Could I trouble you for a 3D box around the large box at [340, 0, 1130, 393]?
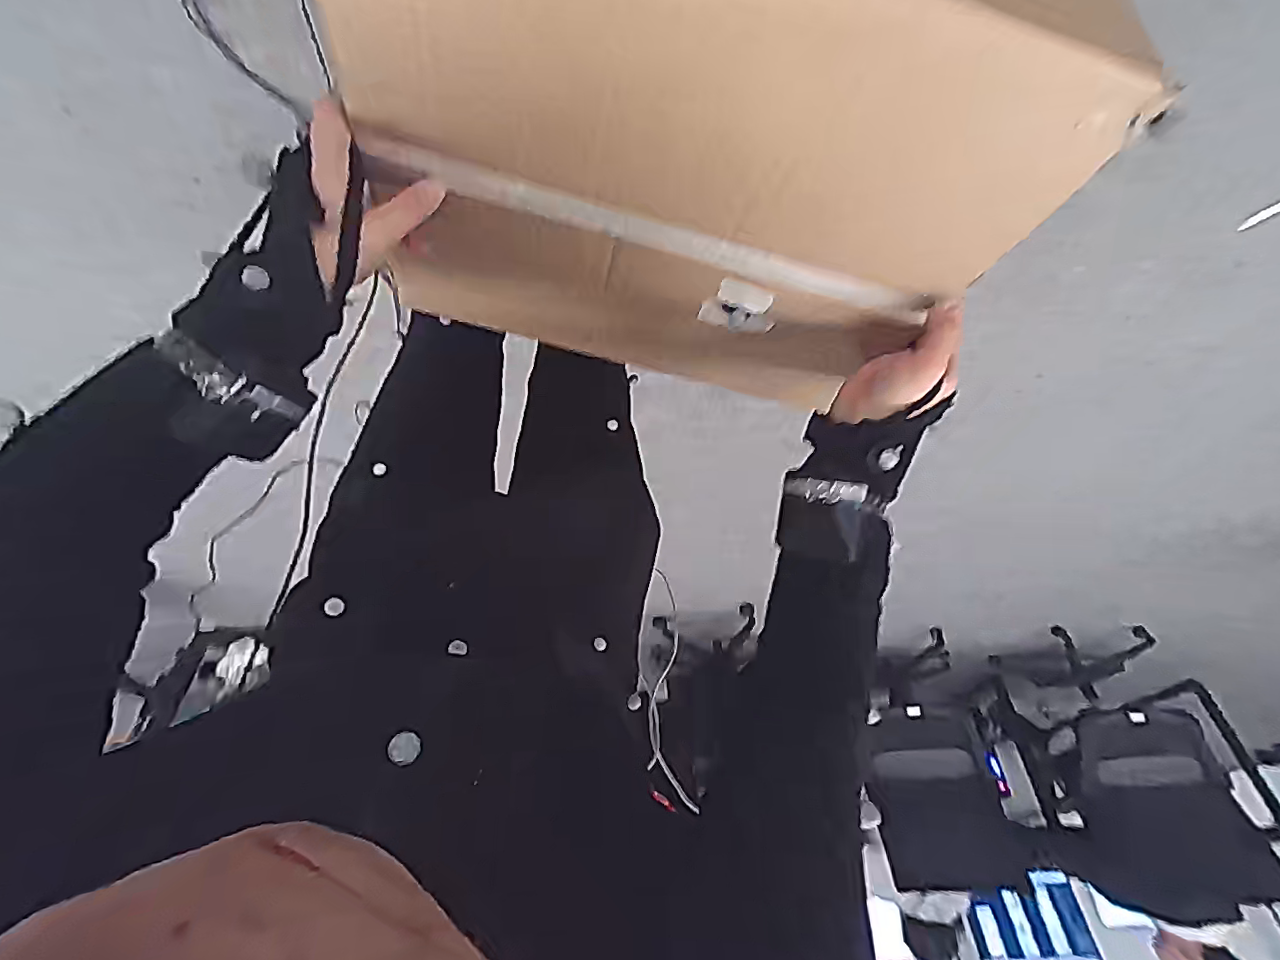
[{"bbox_3d":[0.037,-0.317,0.436,0.408,0.320,0.320,12,156,-9],"label":"large box"}]
